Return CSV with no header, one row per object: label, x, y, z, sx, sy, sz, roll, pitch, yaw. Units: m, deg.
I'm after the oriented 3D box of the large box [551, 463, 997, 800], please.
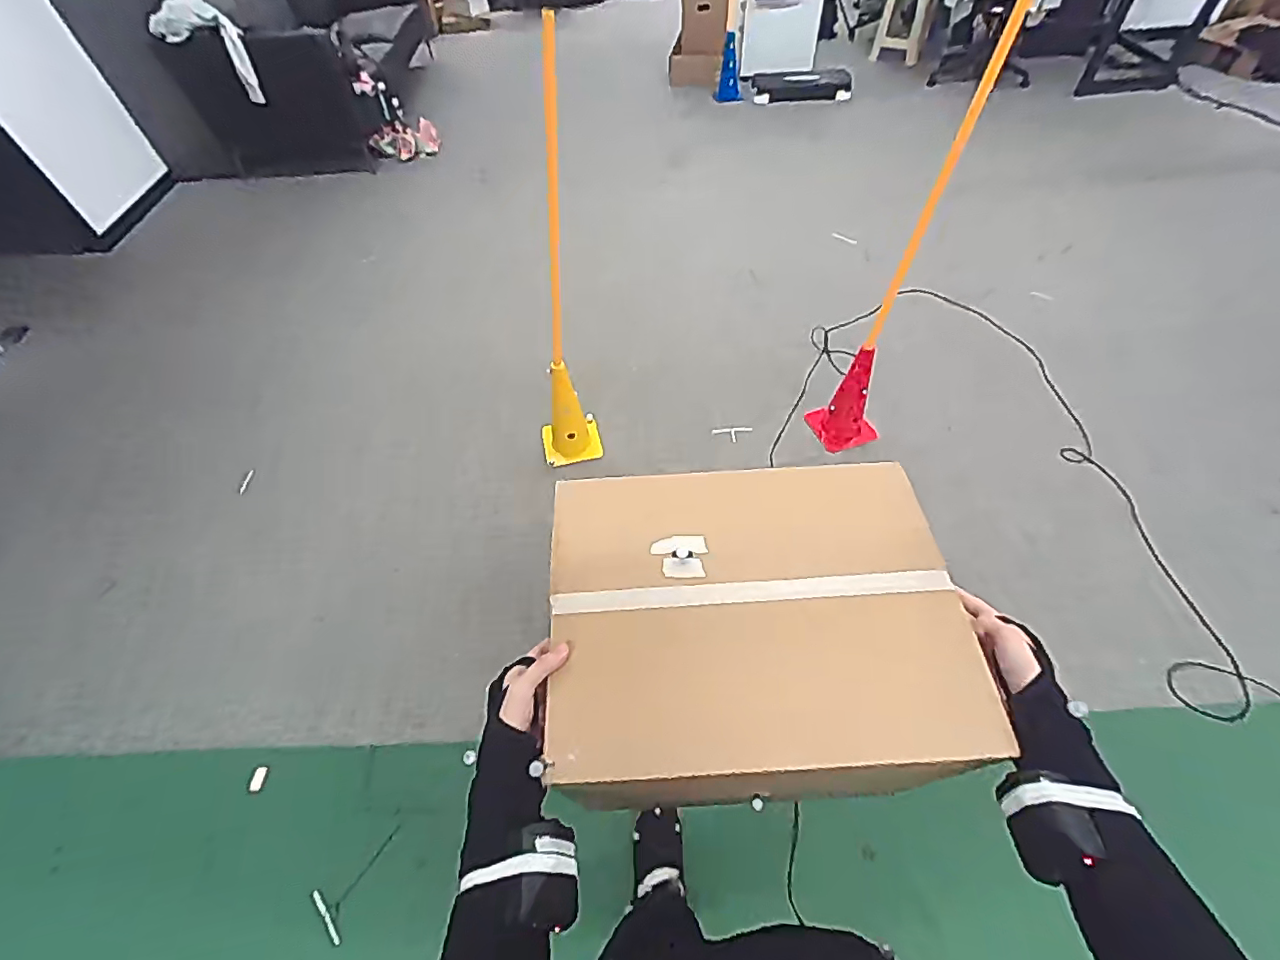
large box,0.119,0.204,0.681,0.408,0.320,0.320,-4,54,1
